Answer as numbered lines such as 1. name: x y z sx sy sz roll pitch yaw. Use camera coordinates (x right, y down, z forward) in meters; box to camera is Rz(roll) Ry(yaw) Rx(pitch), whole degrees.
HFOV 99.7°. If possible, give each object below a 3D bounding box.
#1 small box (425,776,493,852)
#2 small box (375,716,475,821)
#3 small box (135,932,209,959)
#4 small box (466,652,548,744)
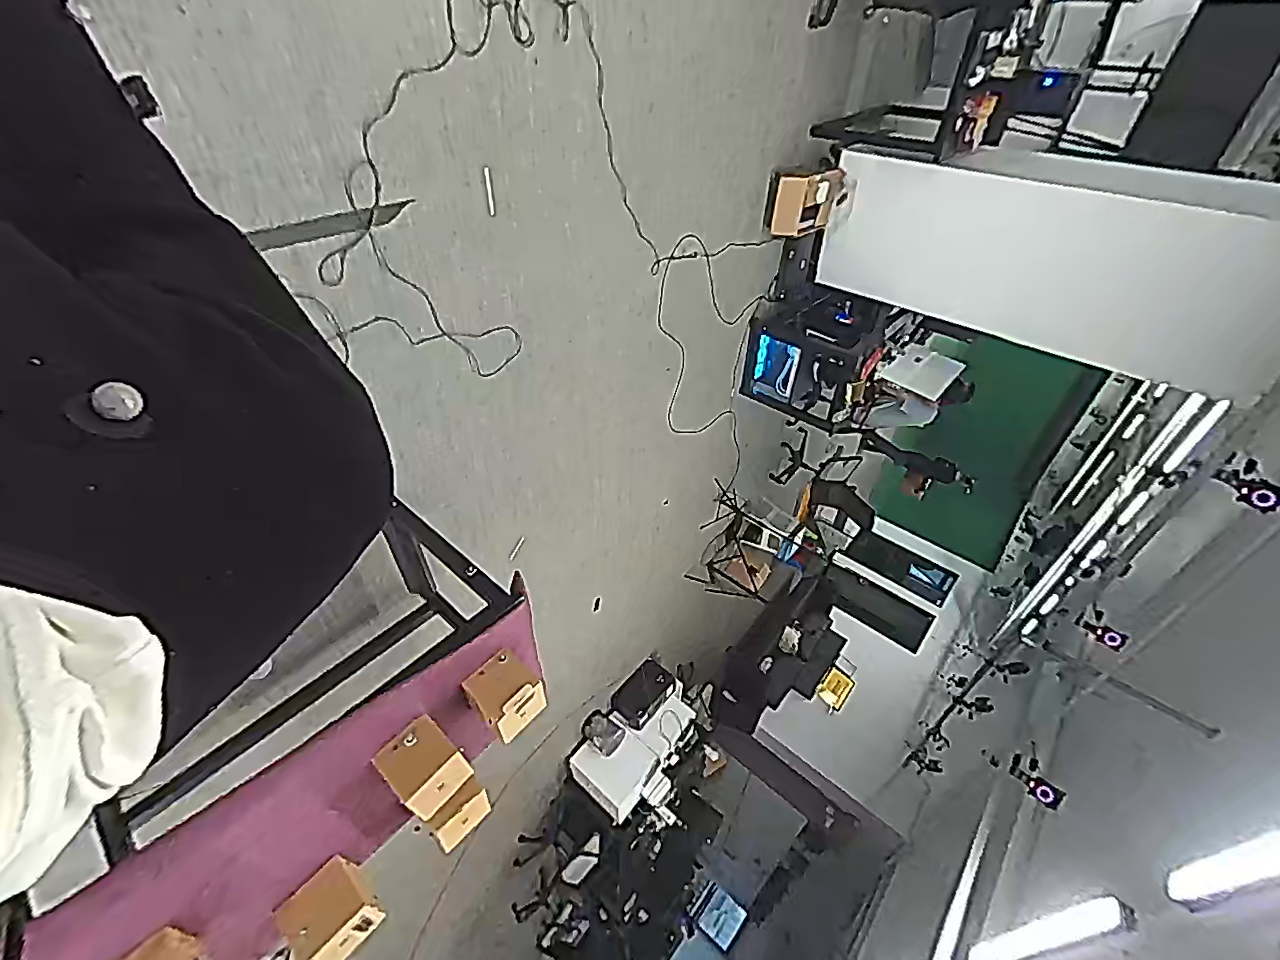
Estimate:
1. small box: -0.583 0.996 1.674 0.168 0.176 0.179 -35 142 -37
2. small box: -0.586 0.786 1.484 0.168 0.176 0.179 -41 146 -32
3. small box: -0.999 1.089 1.112 0.179 0.176 0.168 -37 144 -37
4. small box: -0.405 0.652 1.640 0.168 0.176 0.179 -38 146 -33
